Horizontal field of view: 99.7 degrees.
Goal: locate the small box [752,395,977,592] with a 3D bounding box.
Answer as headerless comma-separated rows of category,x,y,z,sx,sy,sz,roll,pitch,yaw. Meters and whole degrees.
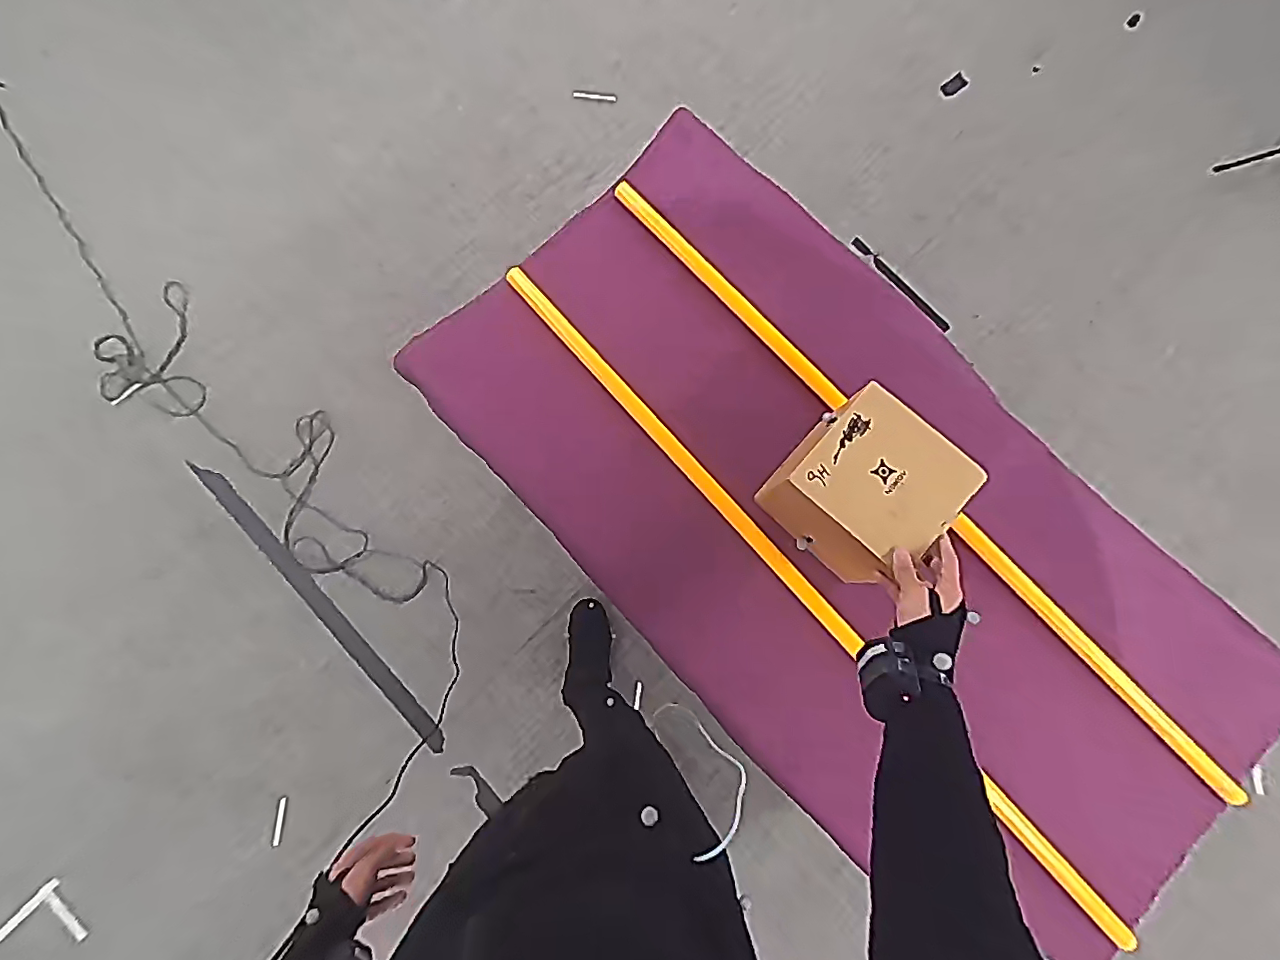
small box,0.276,0.023,0.706,0.179,0.176,0.168,43,81,5
